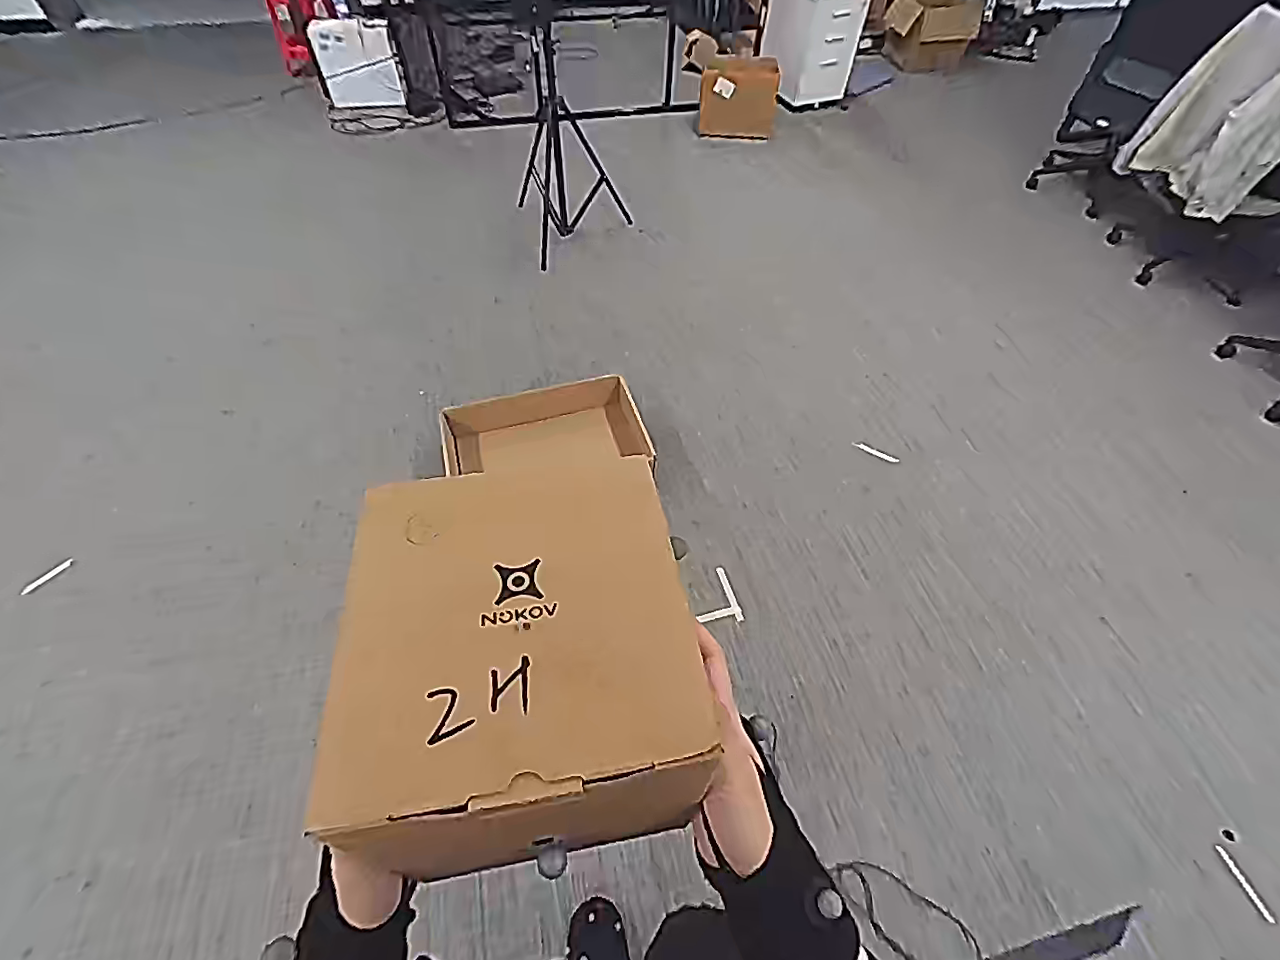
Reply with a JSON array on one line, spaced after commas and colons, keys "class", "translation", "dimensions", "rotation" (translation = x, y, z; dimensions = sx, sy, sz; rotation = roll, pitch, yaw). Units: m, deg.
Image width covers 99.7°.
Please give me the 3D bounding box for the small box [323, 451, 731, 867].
[{"class": "small box", "translation": [-0.059, 0.107, 0.330], "dimensions": [0.168, 0.176, 0.179], "rotation": [-7, 50, -8]}]
